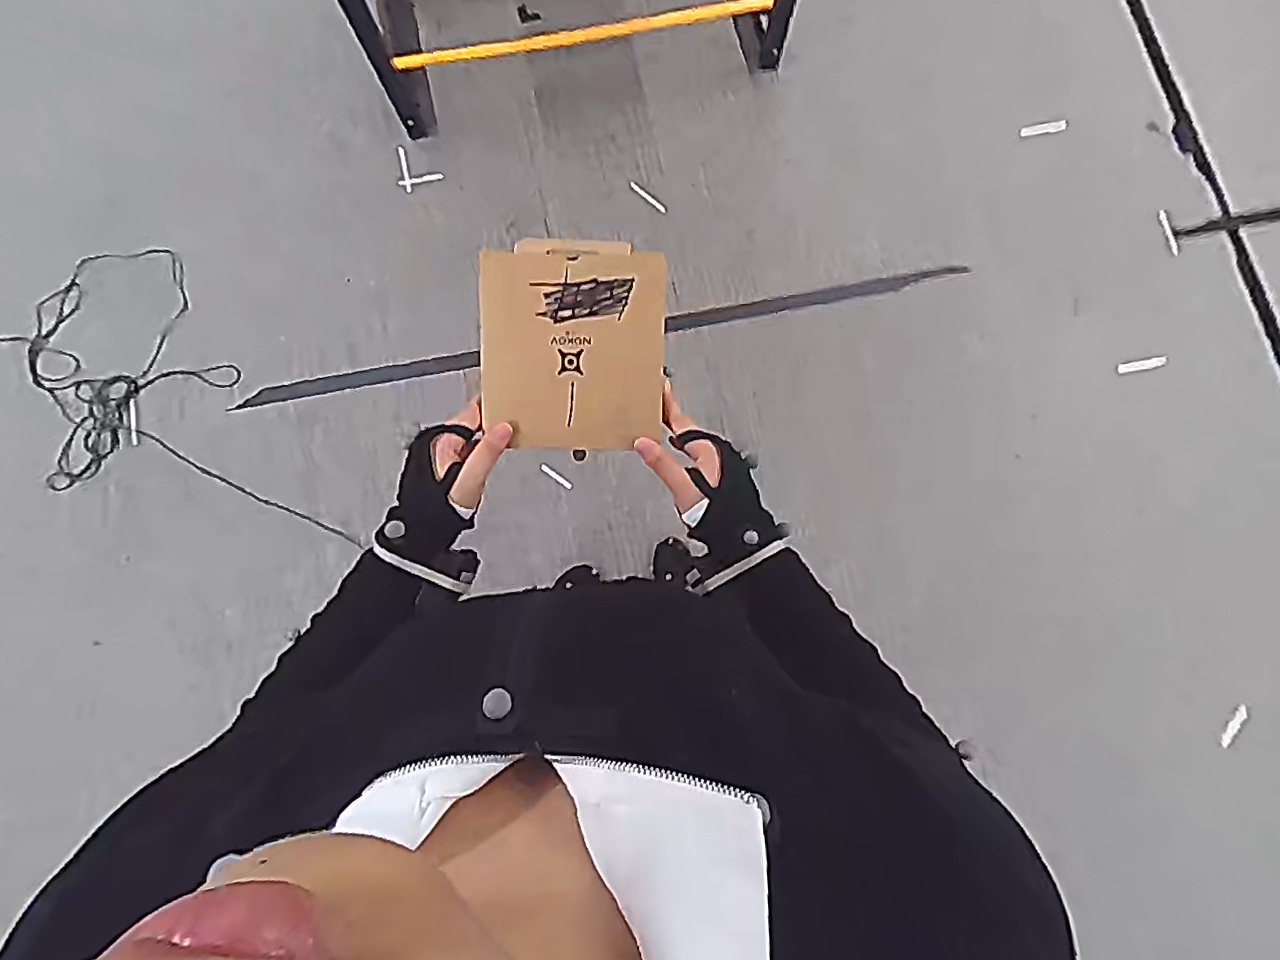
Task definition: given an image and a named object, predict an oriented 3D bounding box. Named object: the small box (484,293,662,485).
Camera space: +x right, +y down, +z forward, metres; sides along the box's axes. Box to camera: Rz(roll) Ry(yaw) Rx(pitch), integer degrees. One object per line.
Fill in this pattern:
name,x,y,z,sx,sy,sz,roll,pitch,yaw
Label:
small box,-0.064,-0.091,0.580,0.168,0.176,0.179,1,96,0
